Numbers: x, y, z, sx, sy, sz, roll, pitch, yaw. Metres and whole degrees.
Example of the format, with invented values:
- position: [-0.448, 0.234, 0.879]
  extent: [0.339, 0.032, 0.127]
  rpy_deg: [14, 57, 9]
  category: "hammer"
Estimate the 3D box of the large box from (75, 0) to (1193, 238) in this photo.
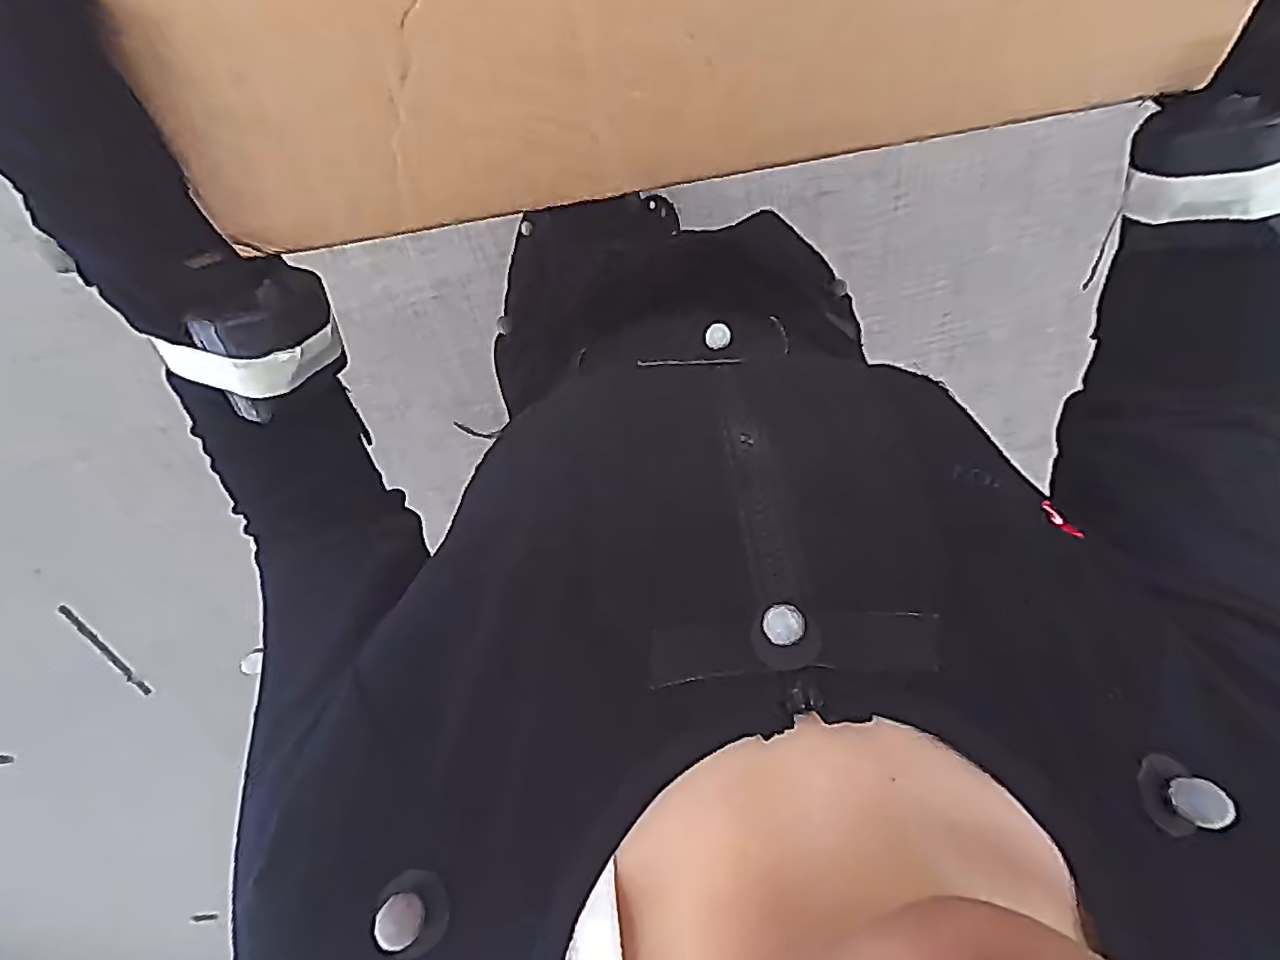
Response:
- position: [-0.012, -0.349, 0.207]
  extent: [0.408, 0.320, 0.320]
  rpy_deg: [-8, 141, 3]
  category: "large box"
